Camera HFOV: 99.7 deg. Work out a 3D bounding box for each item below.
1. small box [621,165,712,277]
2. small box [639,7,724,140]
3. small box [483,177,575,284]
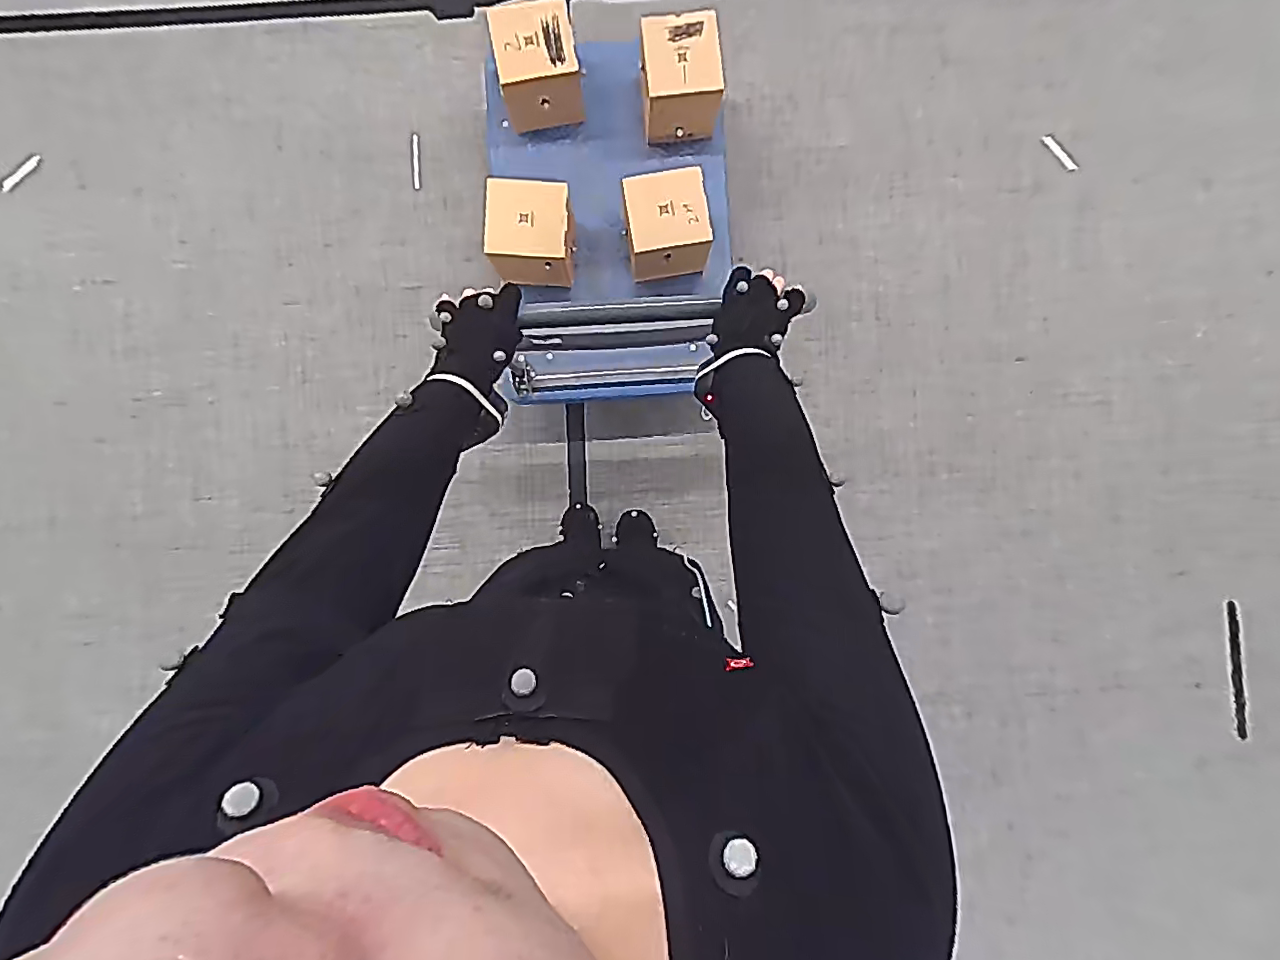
[{"bbox_3d":[0.057,-0.581,1.234,0.179,0.176,0.168,-9,90,-1],"label":"small box"},{"bbox_3d":[0.088,-0.920,1.236,0.168,0.176,0.179,-7,91,-1],"label":"small box"},{"bbox_3d":[-0.246,-0.559,1.230,0.179,0.176,0.168,2,89,-2],"label":"small box"}]
